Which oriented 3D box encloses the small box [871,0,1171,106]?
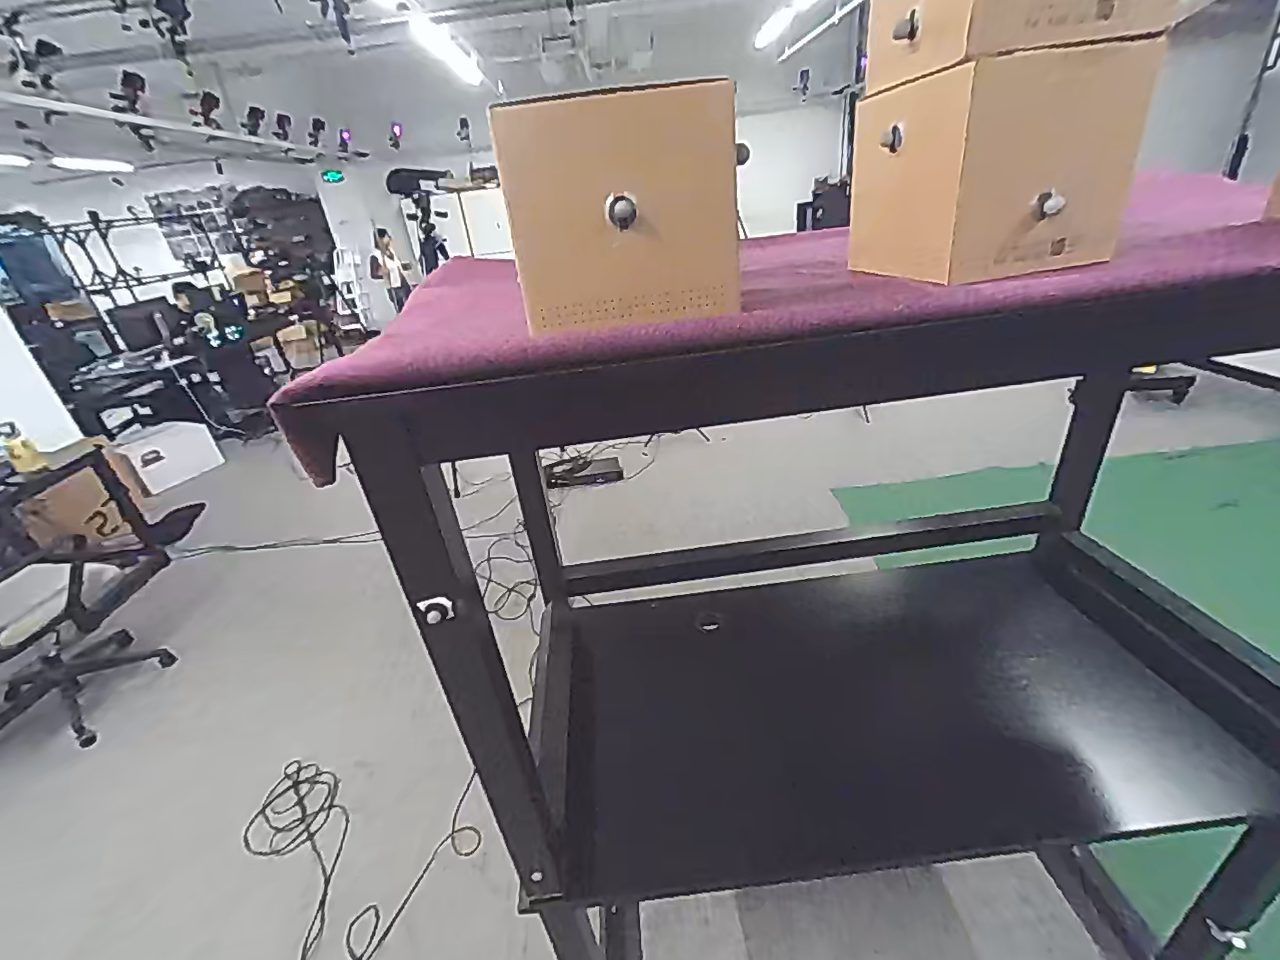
[{"bbox_3d":[0.315,-0.436,0.455,0.168,0.176,0.179,-8,28,-2],"label":"small box"}]
